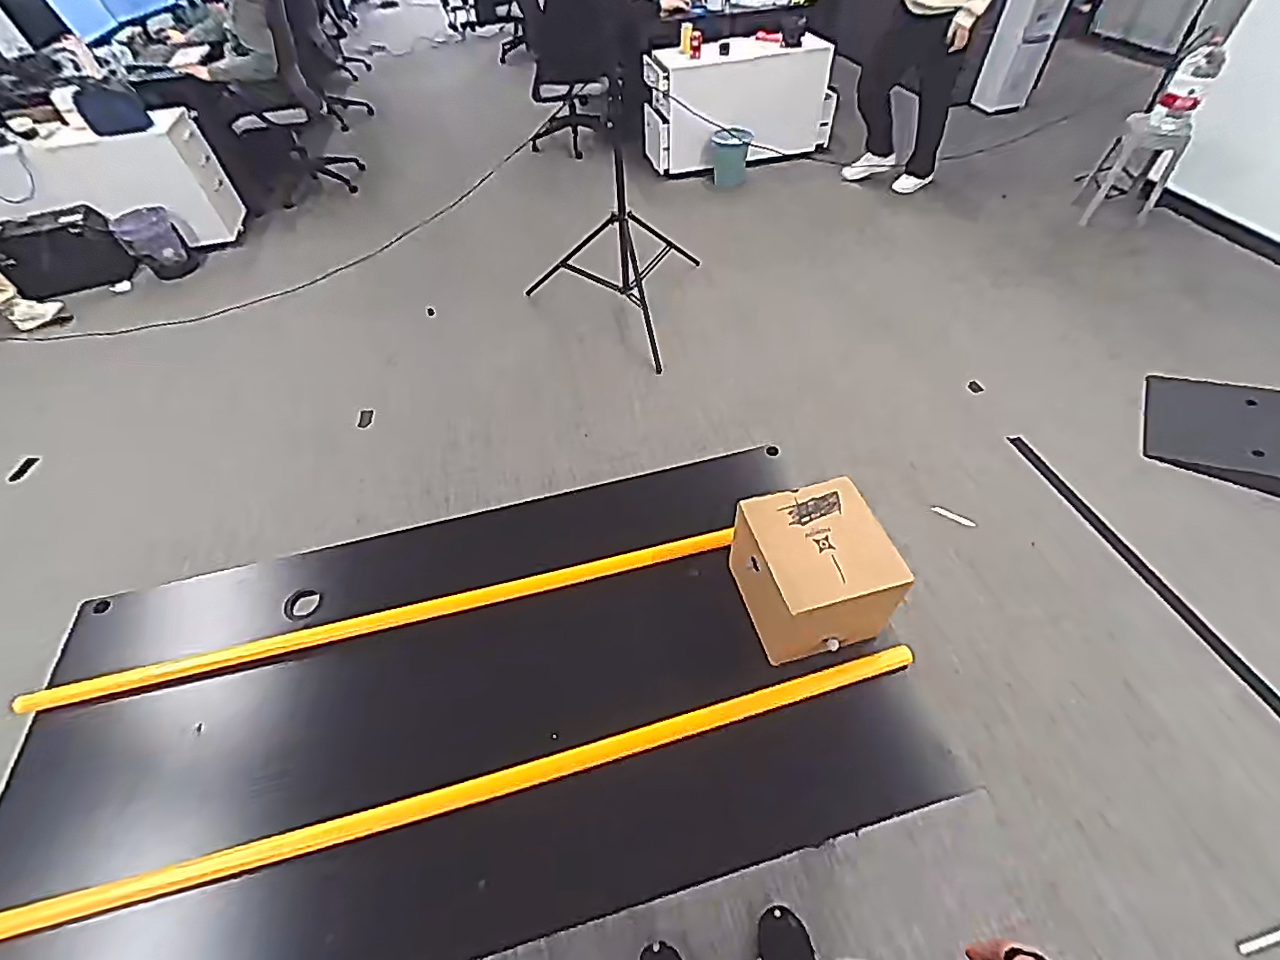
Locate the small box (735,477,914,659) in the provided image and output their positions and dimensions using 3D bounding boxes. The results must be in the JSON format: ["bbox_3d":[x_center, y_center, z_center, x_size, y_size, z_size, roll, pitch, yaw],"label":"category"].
[{"bbox_3d":[0.242,0.126,0.766,0.168,0.176,0.179,-13,52,-6],"label":"small box"}]
